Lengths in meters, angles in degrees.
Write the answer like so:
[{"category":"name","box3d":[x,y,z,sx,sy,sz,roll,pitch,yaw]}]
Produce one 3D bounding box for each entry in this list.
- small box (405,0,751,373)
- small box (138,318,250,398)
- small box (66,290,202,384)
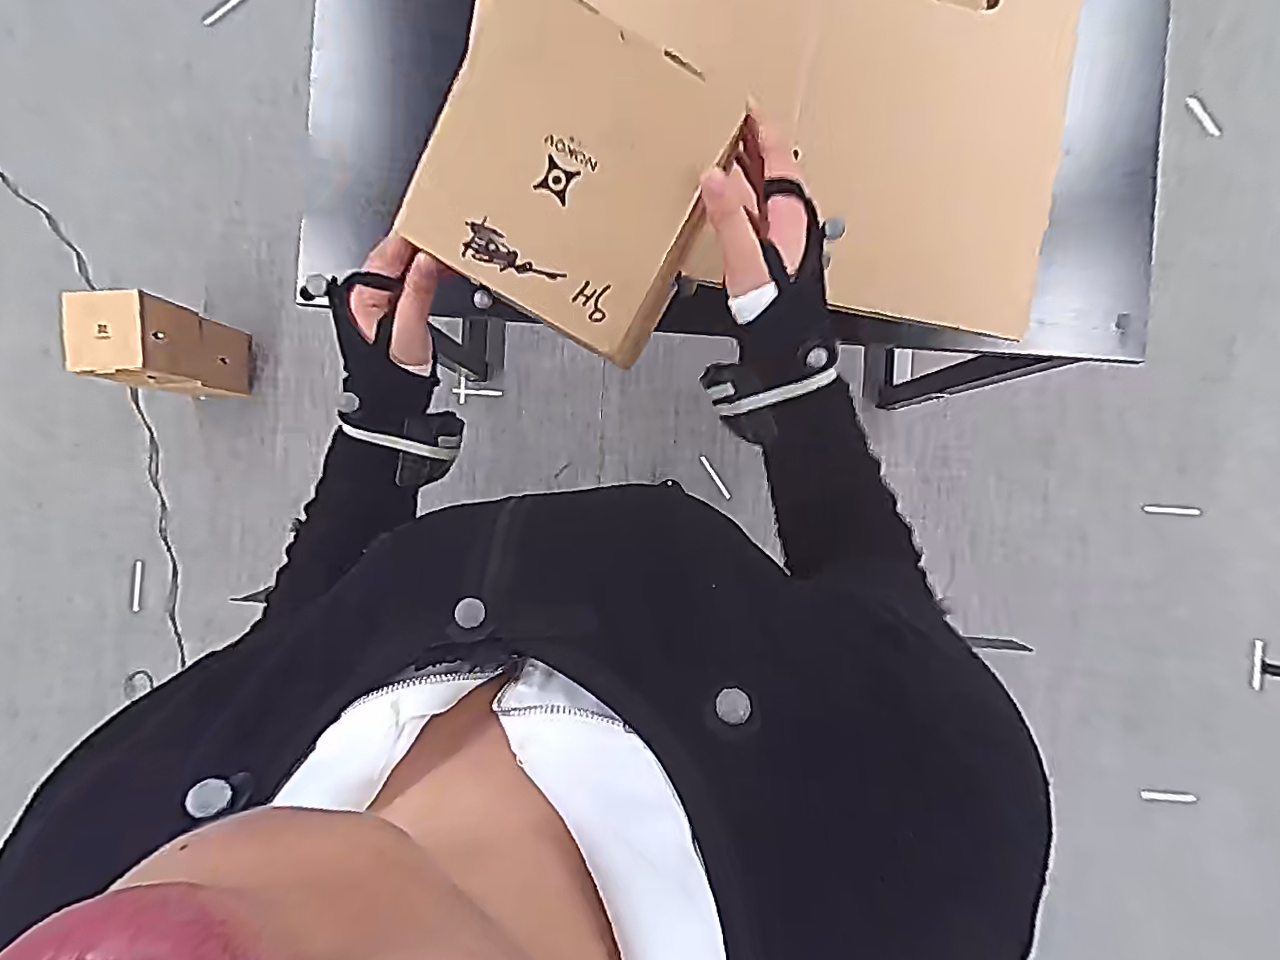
[{"category":"small box","box3d":[-0.039,-0.202,0.423,0.168,0.176,0.179,31,97,-1]},{"category":"small box","box3d":[-1.156,-0.315,1.411,0.168,0.176,0.179,0,91,0]},{"category":"small box","box3d":[-1.157,-0.321,1.249,0.168,0.176,0.179,-3,89,-1]}]
